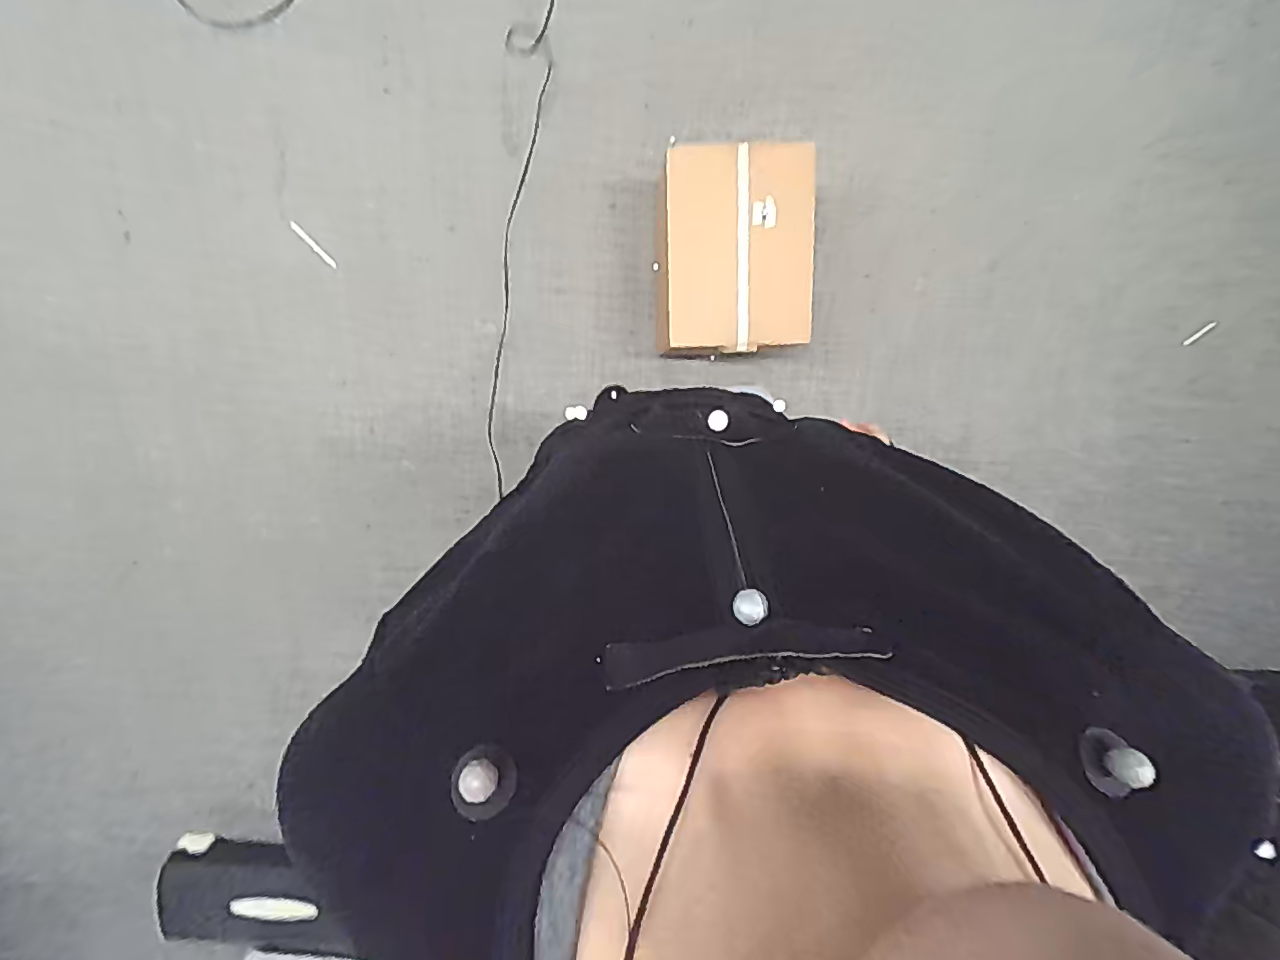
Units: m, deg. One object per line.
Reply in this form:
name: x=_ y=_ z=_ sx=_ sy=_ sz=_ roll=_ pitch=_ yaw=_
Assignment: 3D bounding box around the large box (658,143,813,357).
large box: x=0.209 y=-0.515 z=1.288 sx=0.320 sy=0.320 sz=0.408 roll=-2 pitch=99 yaw=-3
